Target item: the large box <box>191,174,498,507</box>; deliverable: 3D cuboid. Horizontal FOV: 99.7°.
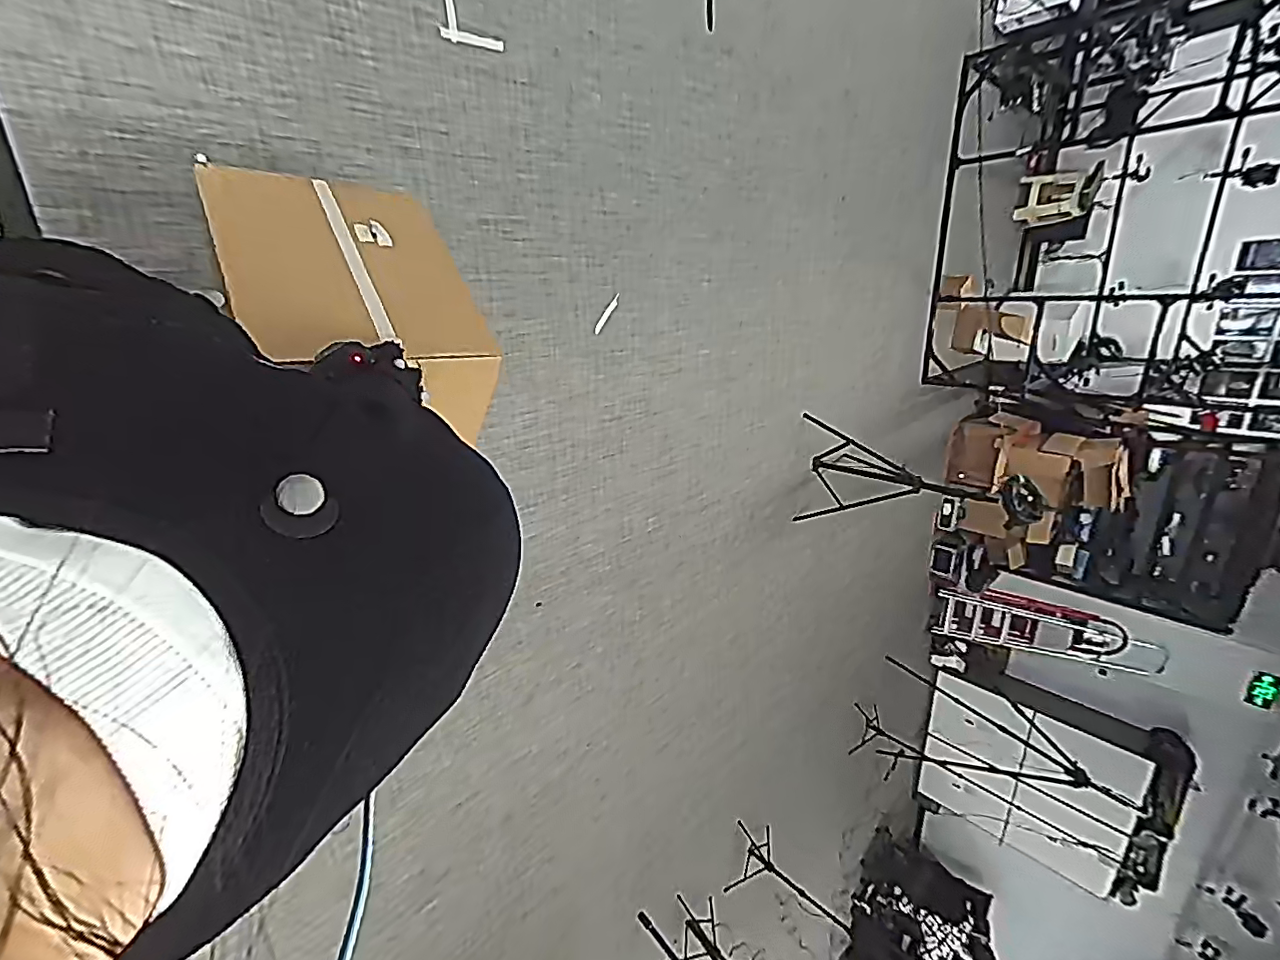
[{"bbox_3d":[-0.488,-0.224,0.895,0.320,0.408,0.320,-13,151,-40],"label":"large box"}]
